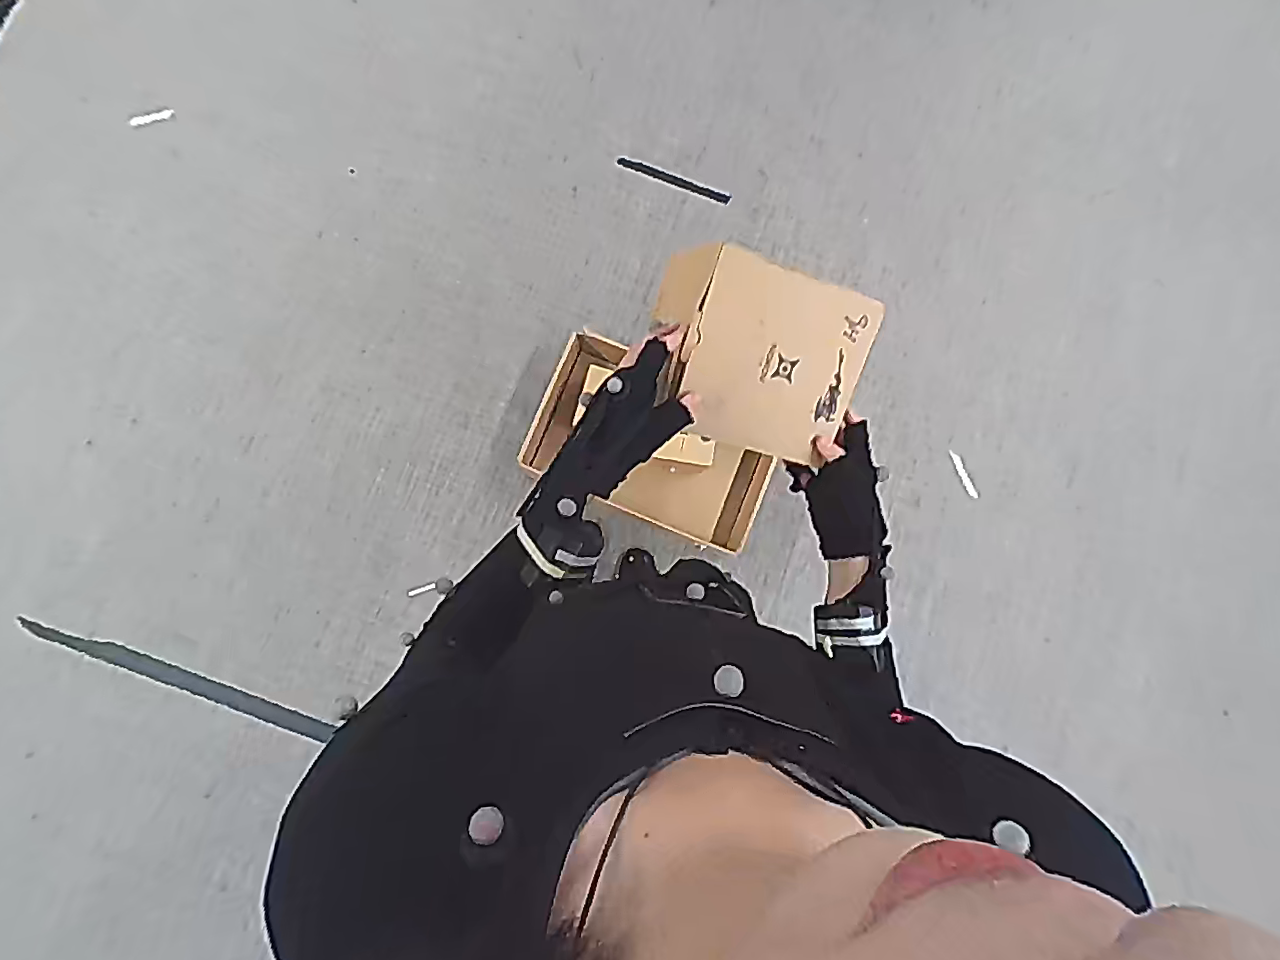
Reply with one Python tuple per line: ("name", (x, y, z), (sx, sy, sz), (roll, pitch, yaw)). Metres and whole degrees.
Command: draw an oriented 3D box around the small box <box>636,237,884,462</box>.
("small box", (0.108, -0.133, 0.571), (0.179, 0.176, 0.168), (13, 103, -17))
